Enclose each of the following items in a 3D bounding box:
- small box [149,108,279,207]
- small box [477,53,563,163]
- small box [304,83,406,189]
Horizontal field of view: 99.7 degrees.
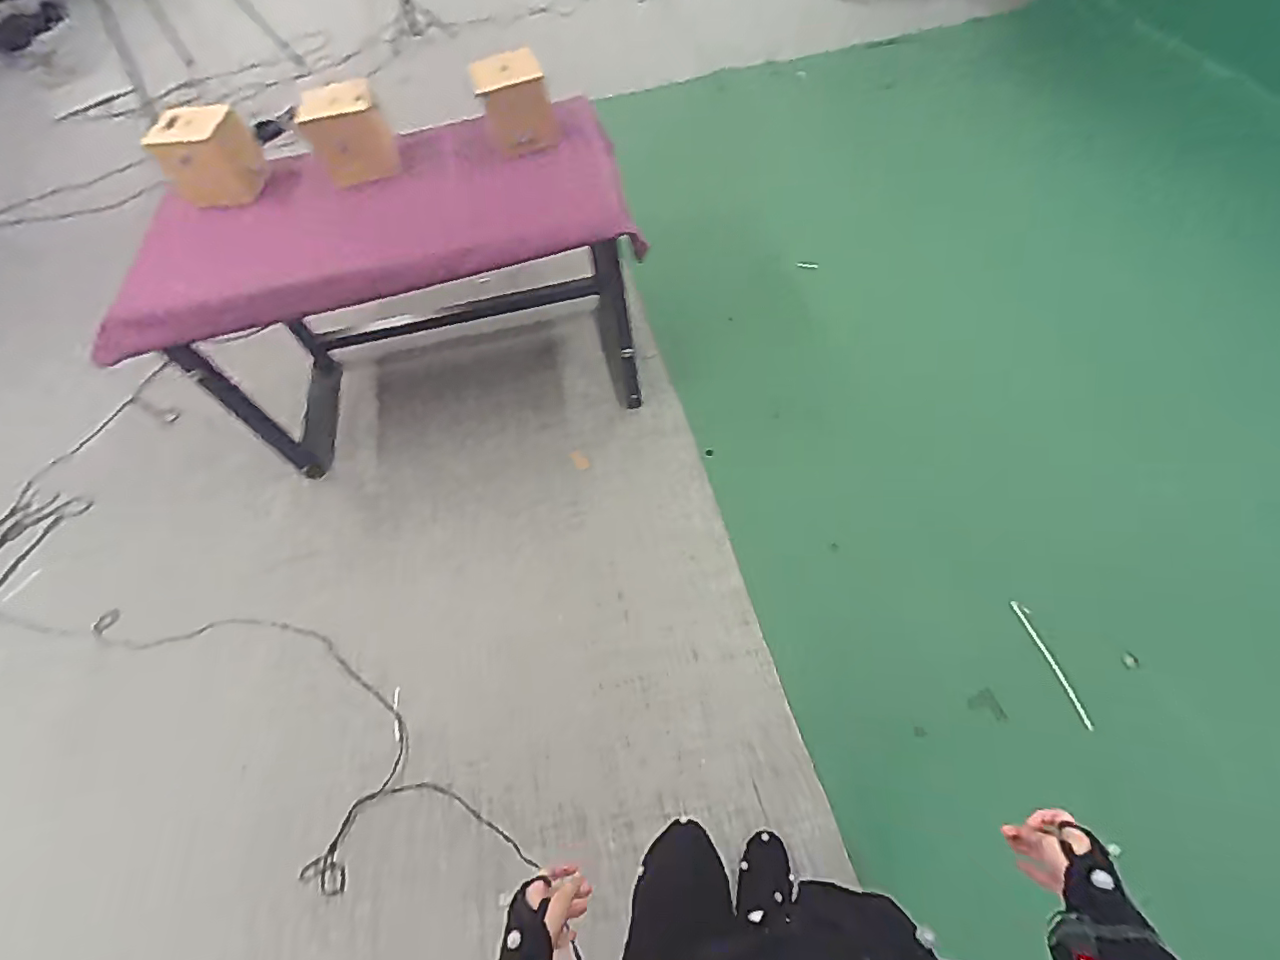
[{"bbox_3d":[-1.106,-0.842,1.421,0.179,0.176,0.168,-2,59,3],"label":"small box"},{"bbox_3d":[-0.315,-0.979,1.429,0.168,0.176,0.179,-18,60,-3],"label":"small box"},{"bbox_3d":[-0.740,-0.898,1.422,0.179,0.176,0.168,-14,60,-2],"label":"small box"}]
